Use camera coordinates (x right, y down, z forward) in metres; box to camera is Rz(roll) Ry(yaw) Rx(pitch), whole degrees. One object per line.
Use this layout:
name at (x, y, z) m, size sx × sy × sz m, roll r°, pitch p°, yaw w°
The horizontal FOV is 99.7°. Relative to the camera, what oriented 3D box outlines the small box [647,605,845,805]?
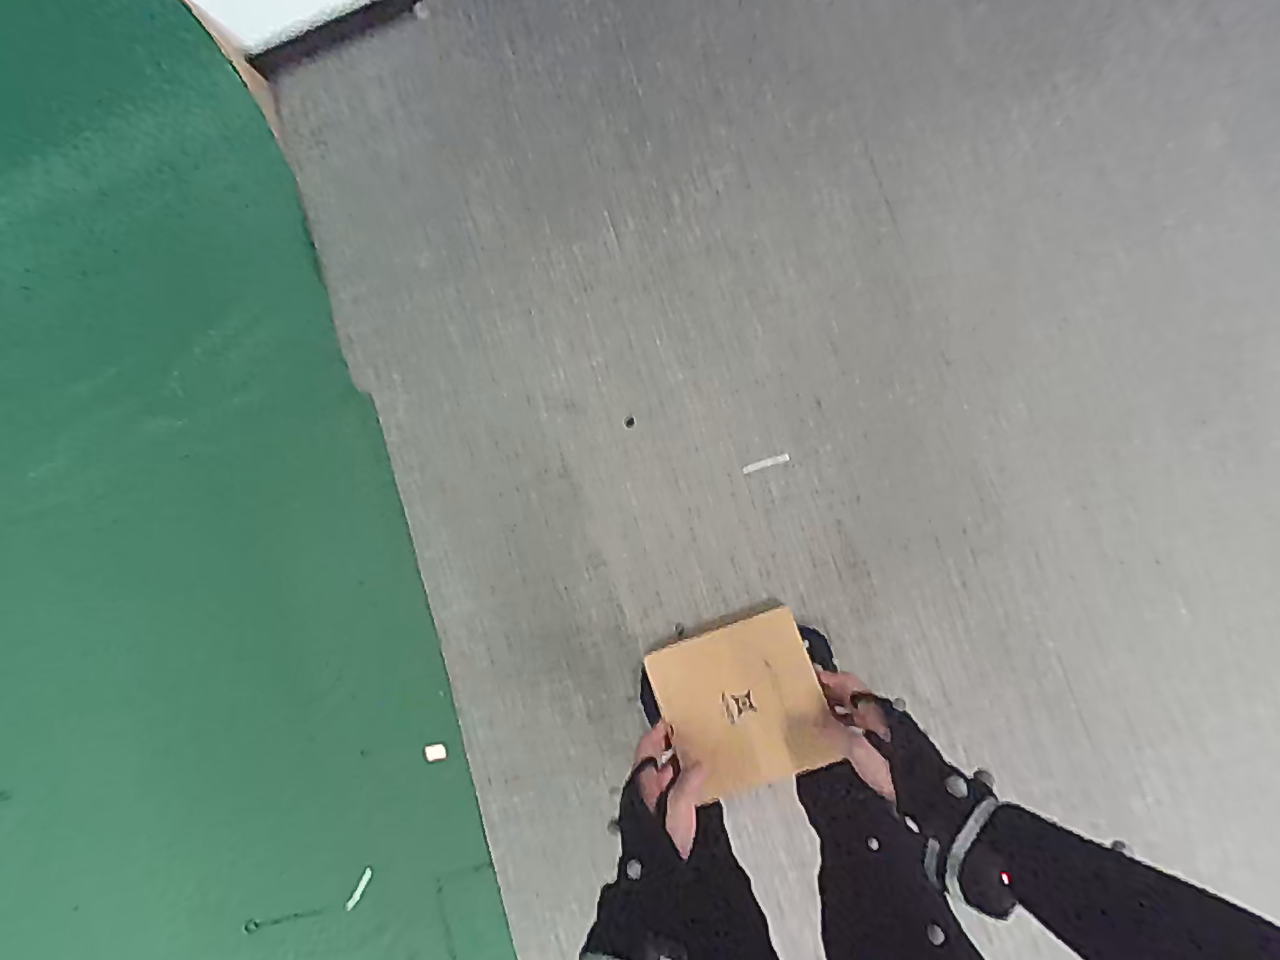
small box at (0.126, 0.262, 0.668) m, size 0.179 × 0.176 × 0.168 m, roll -20°, pitch 79°, yaw 6°
